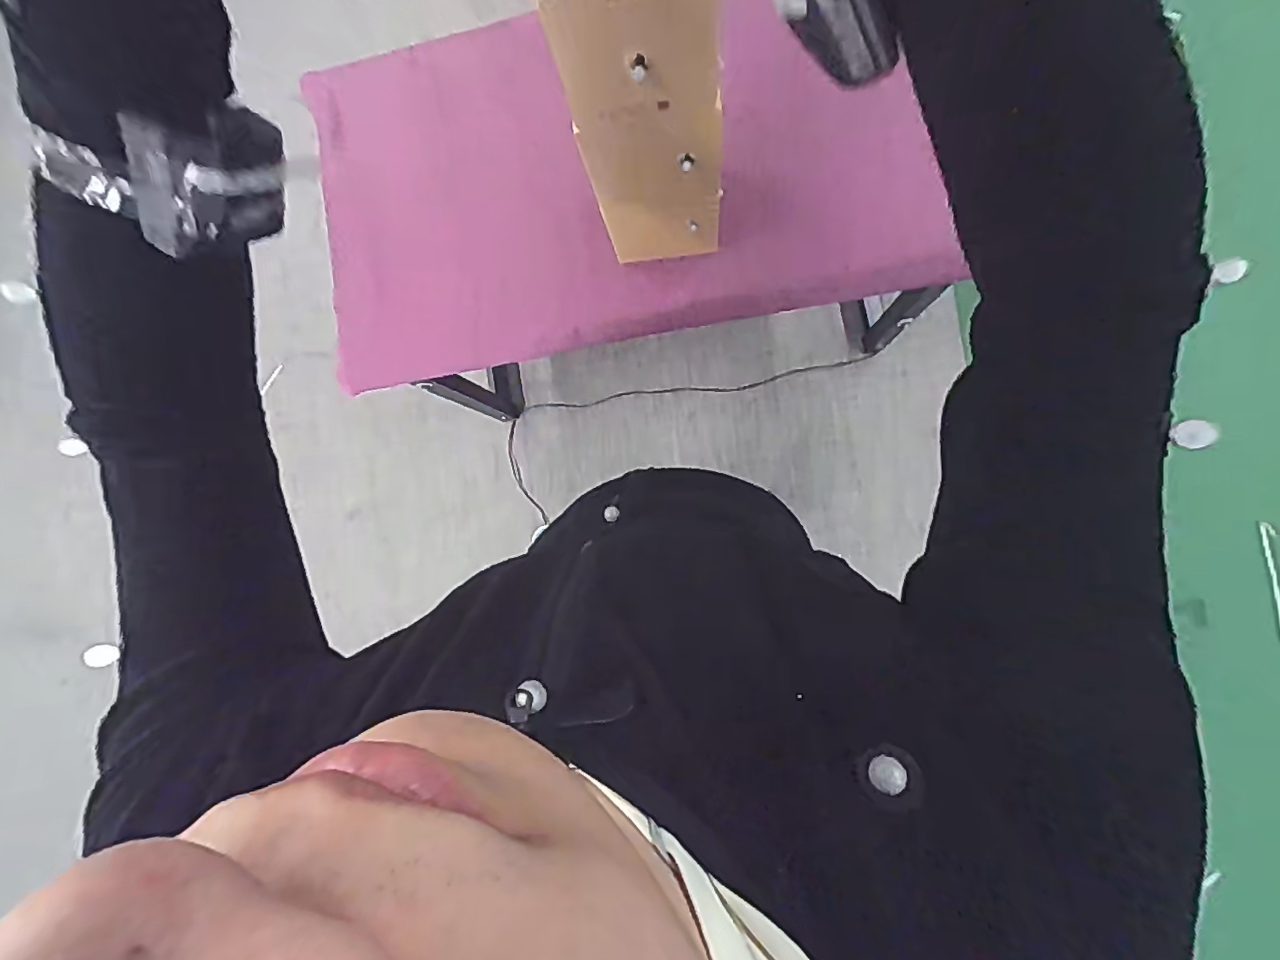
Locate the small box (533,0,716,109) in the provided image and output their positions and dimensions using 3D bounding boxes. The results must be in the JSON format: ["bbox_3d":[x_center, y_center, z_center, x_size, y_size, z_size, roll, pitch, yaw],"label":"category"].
[{"bbox_3d":[-0.010,-0.511,0.543,0.168,0.176,0.179,-4,86,6],"label":"small box"}]

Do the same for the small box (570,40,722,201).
[{"bbox_3d":[0.011,-0.494,0.704,0.179,0.176,0.168,-4,86,7],"label":"small box"}]
